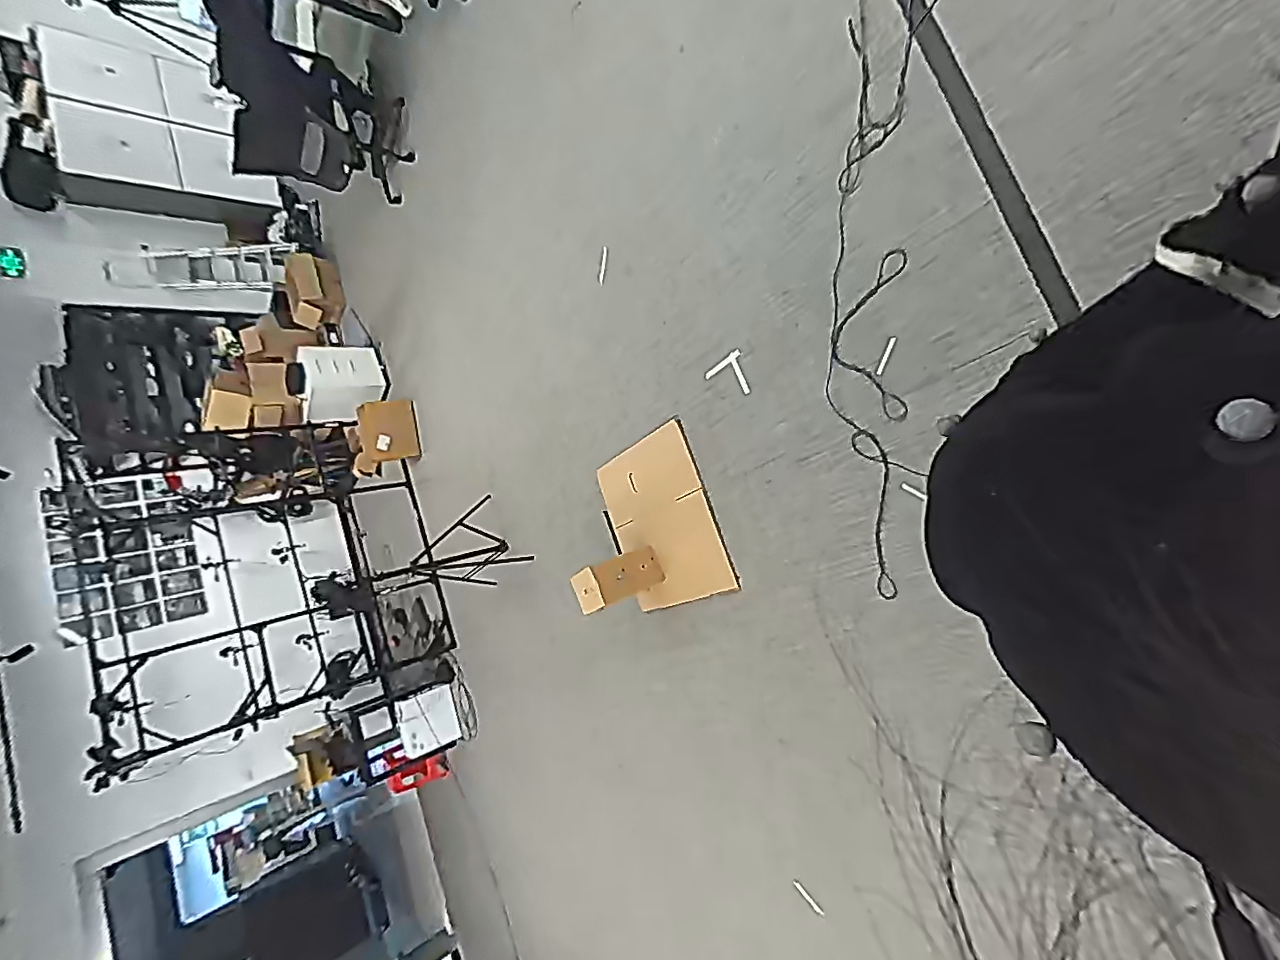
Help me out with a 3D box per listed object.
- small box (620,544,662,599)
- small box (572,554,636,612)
[{"bbox_3d":[-0.025,0.391,2.325,0.179,0.176,0.168,-39,69,46],"label":"small box"},{"bbox_3d":[-0.147,0.422,2.219,0.179,0.176,0.168,-37,72,47],"label":"small box"}]
